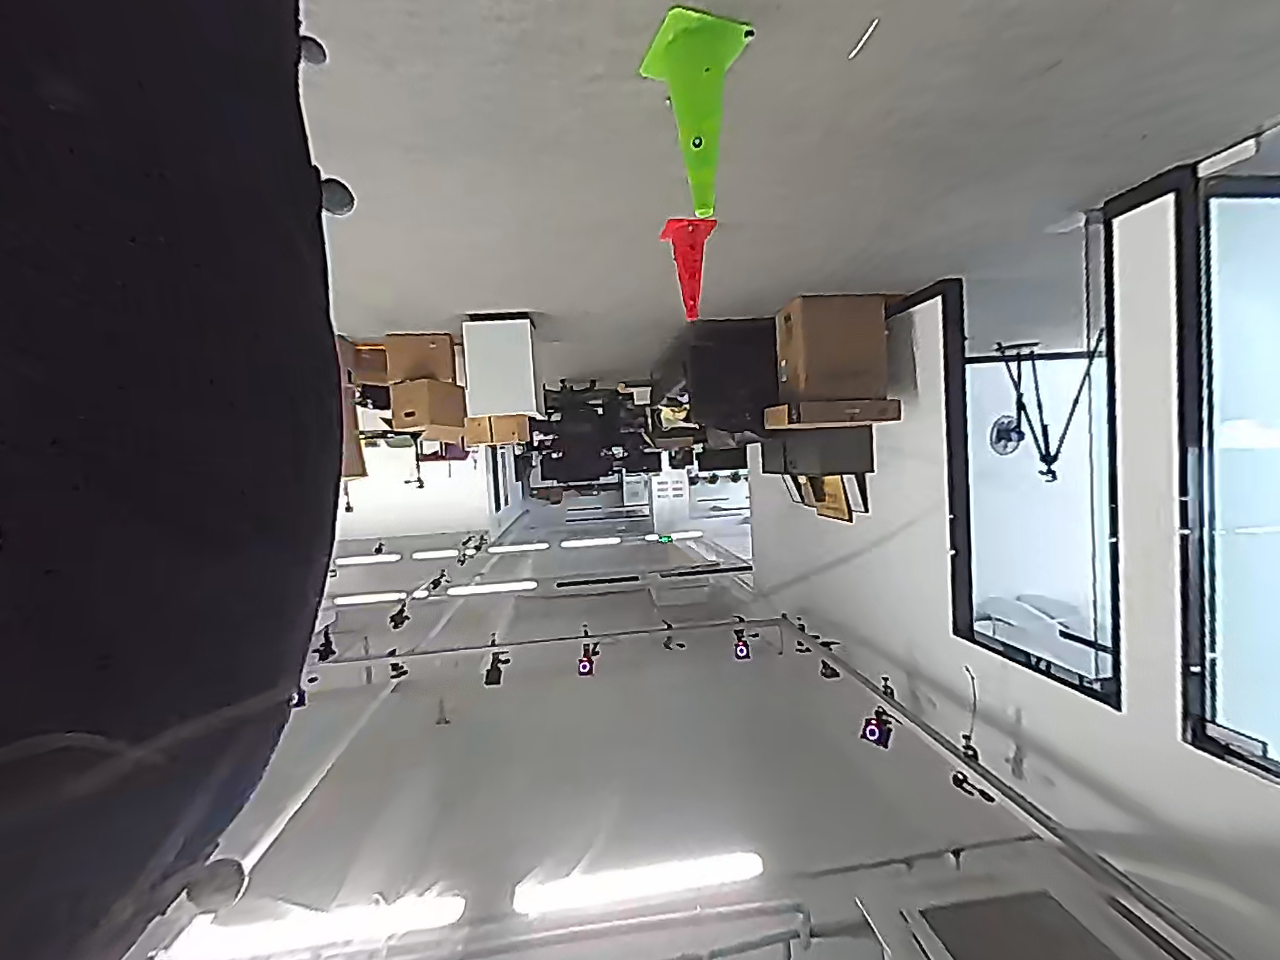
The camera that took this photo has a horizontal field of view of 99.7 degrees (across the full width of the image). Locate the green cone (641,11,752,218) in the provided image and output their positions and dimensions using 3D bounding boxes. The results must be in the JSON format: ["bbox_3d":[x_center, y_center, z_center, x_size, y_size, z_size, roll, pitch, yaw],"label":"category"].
[{"bbox_3d":[0.130,-0.781,1.209,0.200,0.368,0.202,-4,-177,-19],"label":"green cone"}]
